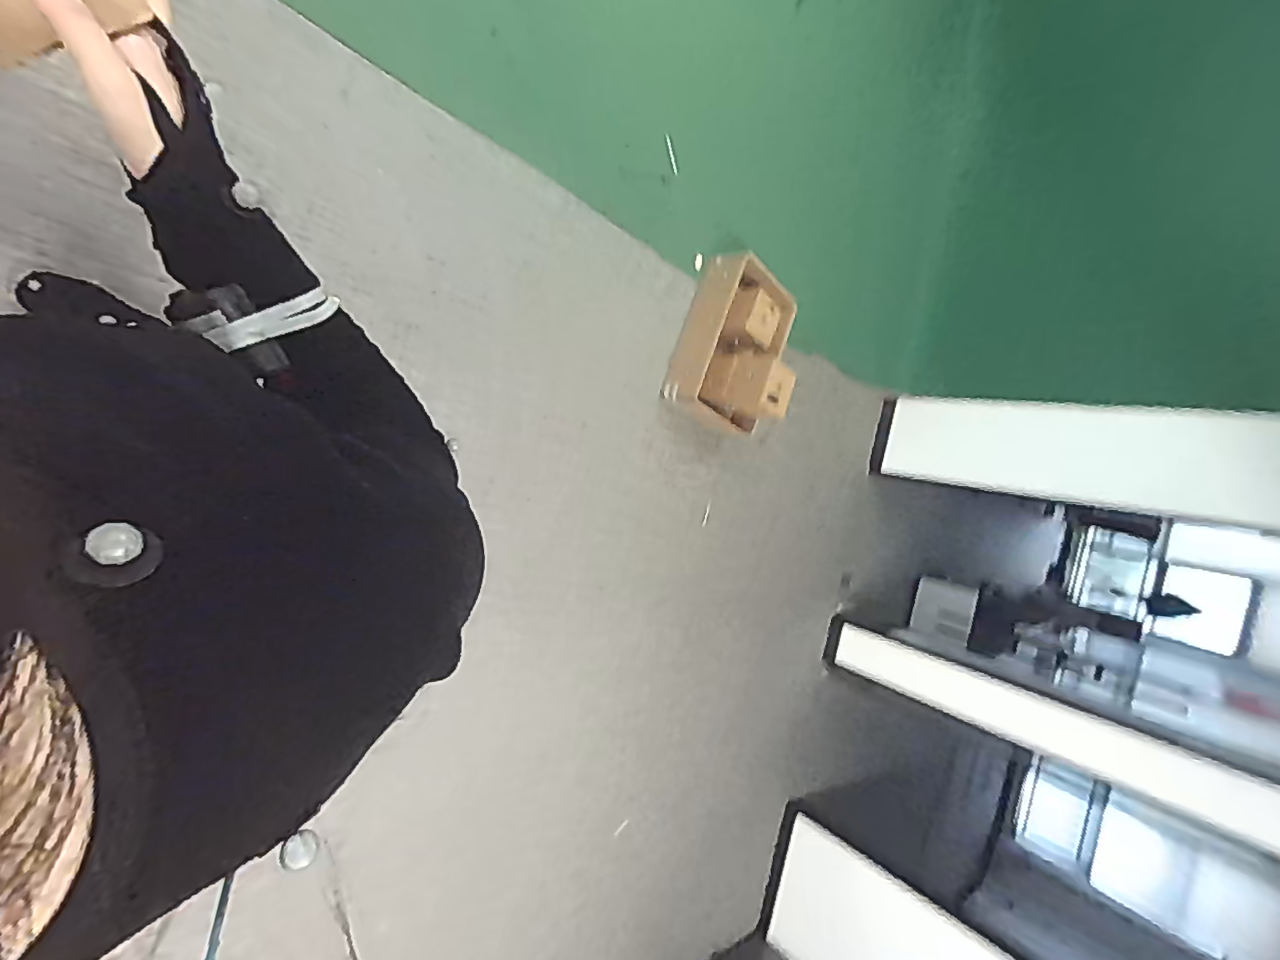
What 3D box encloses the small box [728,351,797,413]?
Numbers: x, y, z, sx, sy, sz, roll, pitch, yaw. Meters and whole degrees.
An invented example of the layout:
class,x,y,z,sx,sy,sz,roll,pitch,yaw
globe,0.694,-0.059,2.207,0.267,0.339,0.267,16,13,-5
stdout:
class,x,y,z,sx,sy,sz,roll,pitch,yaw
small box,0.450,-0.362,2.010,0.168,0.176,0.179,22,84,-42
